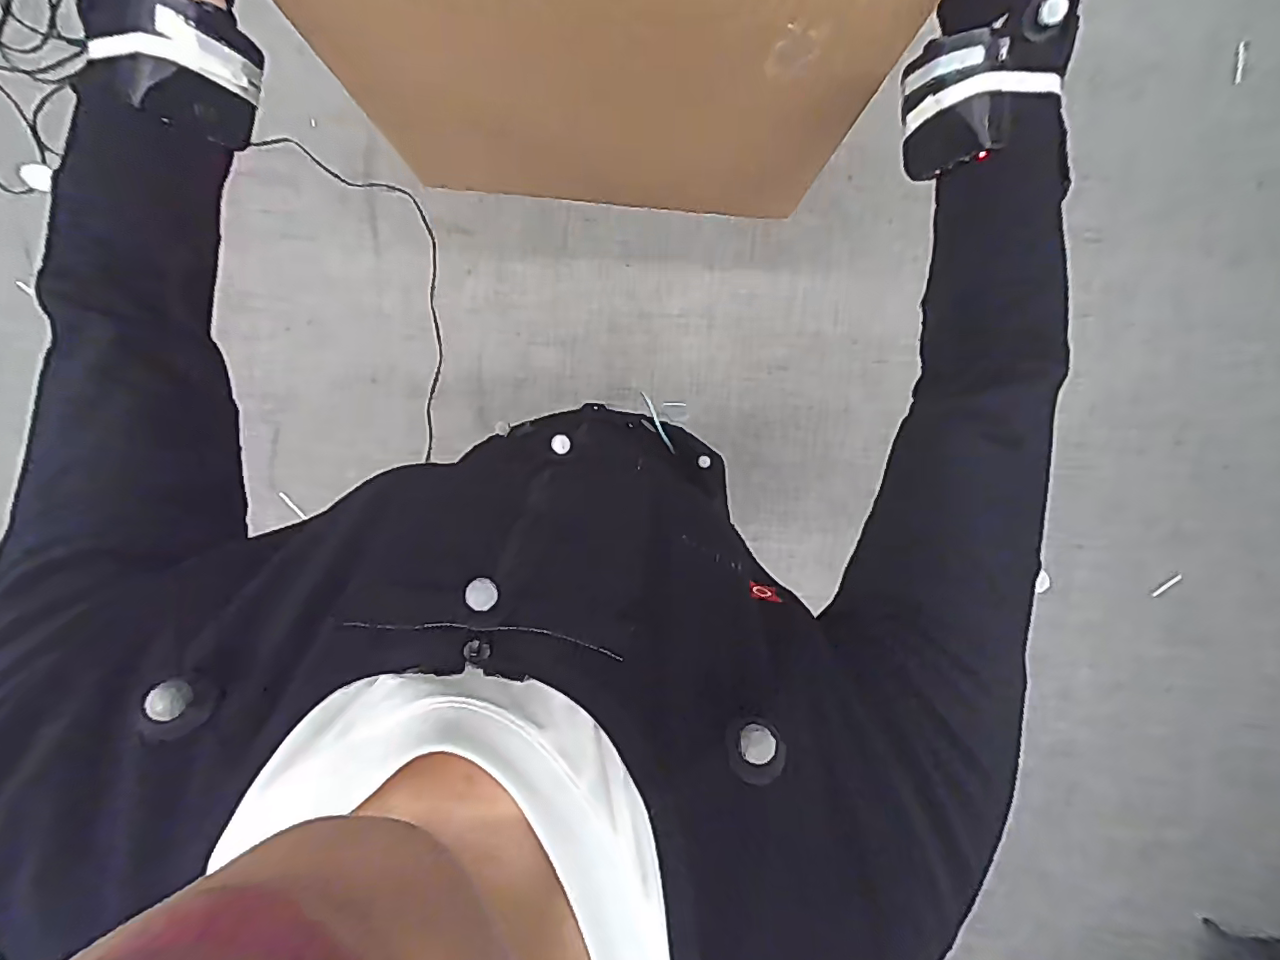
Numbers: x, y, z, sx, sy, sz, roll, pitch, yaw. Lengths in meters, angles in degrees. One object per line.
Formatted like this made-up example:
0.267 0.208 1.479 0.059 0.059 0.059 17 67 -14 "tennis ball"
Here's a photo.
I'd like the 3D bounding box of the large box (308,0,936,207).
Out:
-0.015 -0.451 0.435 0.408 0.320 0.320 4 95 -2 "large box"
